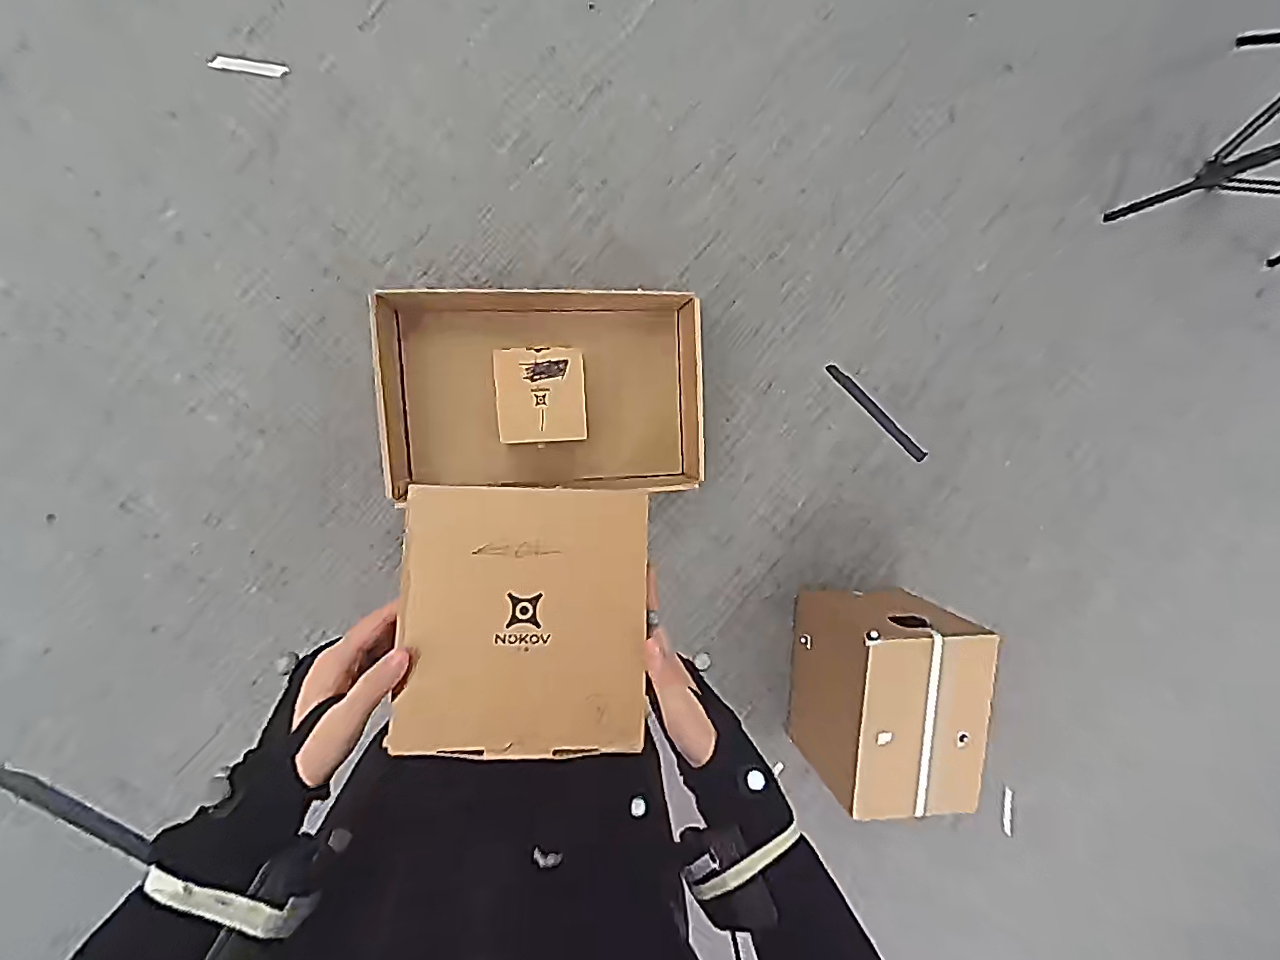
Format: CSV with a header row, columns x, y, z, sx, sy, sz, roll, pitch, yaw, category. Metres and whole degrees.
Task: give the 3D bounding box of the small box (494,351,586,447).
x,y,z,sx,sy,sz,roll,pitch,yaw,category
-0.202,-0.160,1.092,0.168,0.176,0.179,-4,98,-10,small box
